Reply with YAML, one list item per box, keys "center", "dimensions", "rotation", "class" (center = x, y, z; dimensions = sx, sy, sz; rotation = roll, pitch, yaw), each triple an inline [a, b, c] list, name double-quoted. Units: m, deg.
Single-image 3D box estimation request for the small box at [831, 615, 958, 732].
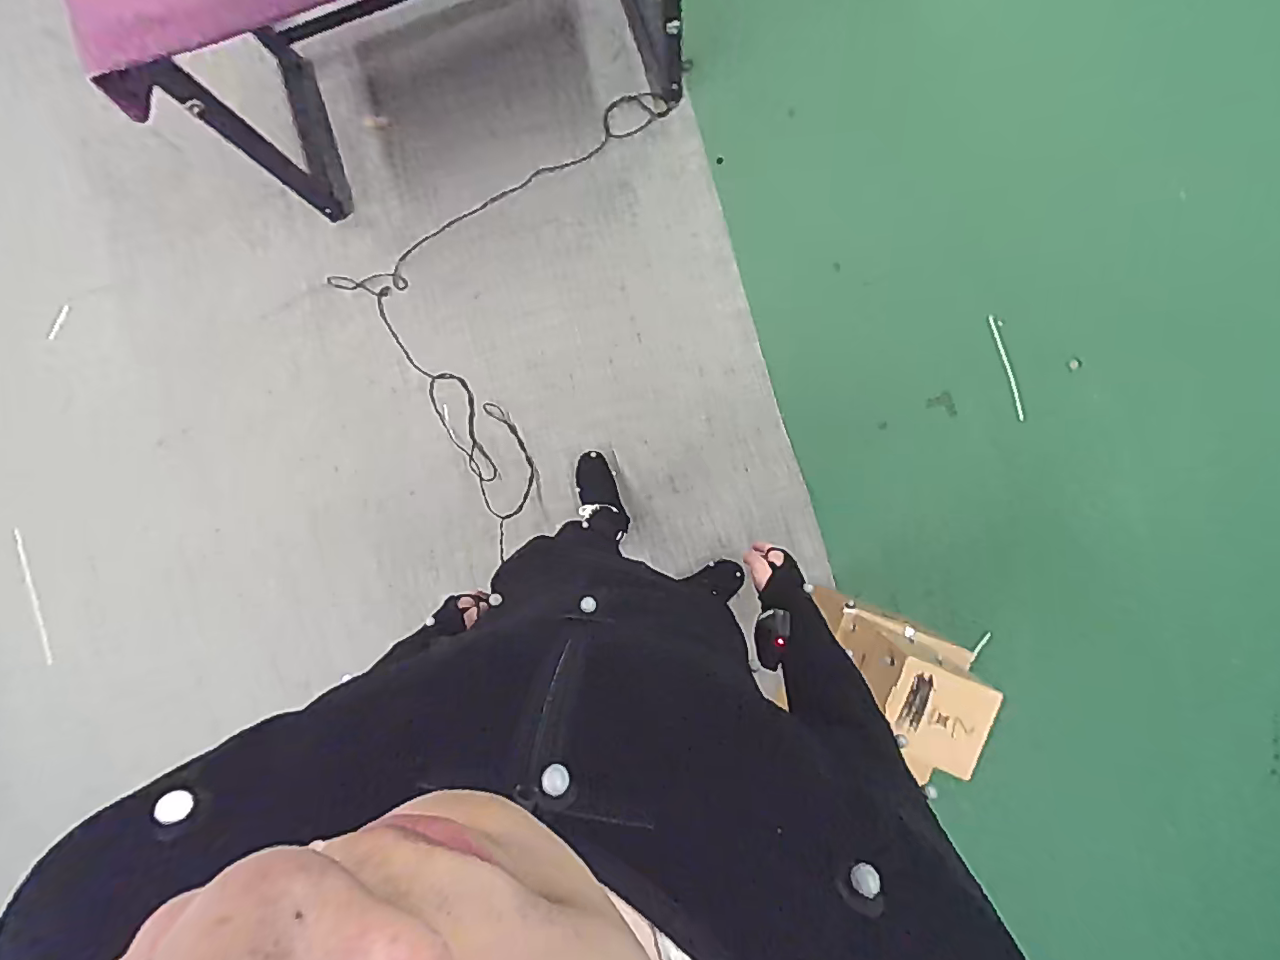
- center: [0.550, 0.415, 1.196]
  dimensions: [0.179, 0.176, 0.168]
  rotation: [23, 92, 4]
  class: "small box"
